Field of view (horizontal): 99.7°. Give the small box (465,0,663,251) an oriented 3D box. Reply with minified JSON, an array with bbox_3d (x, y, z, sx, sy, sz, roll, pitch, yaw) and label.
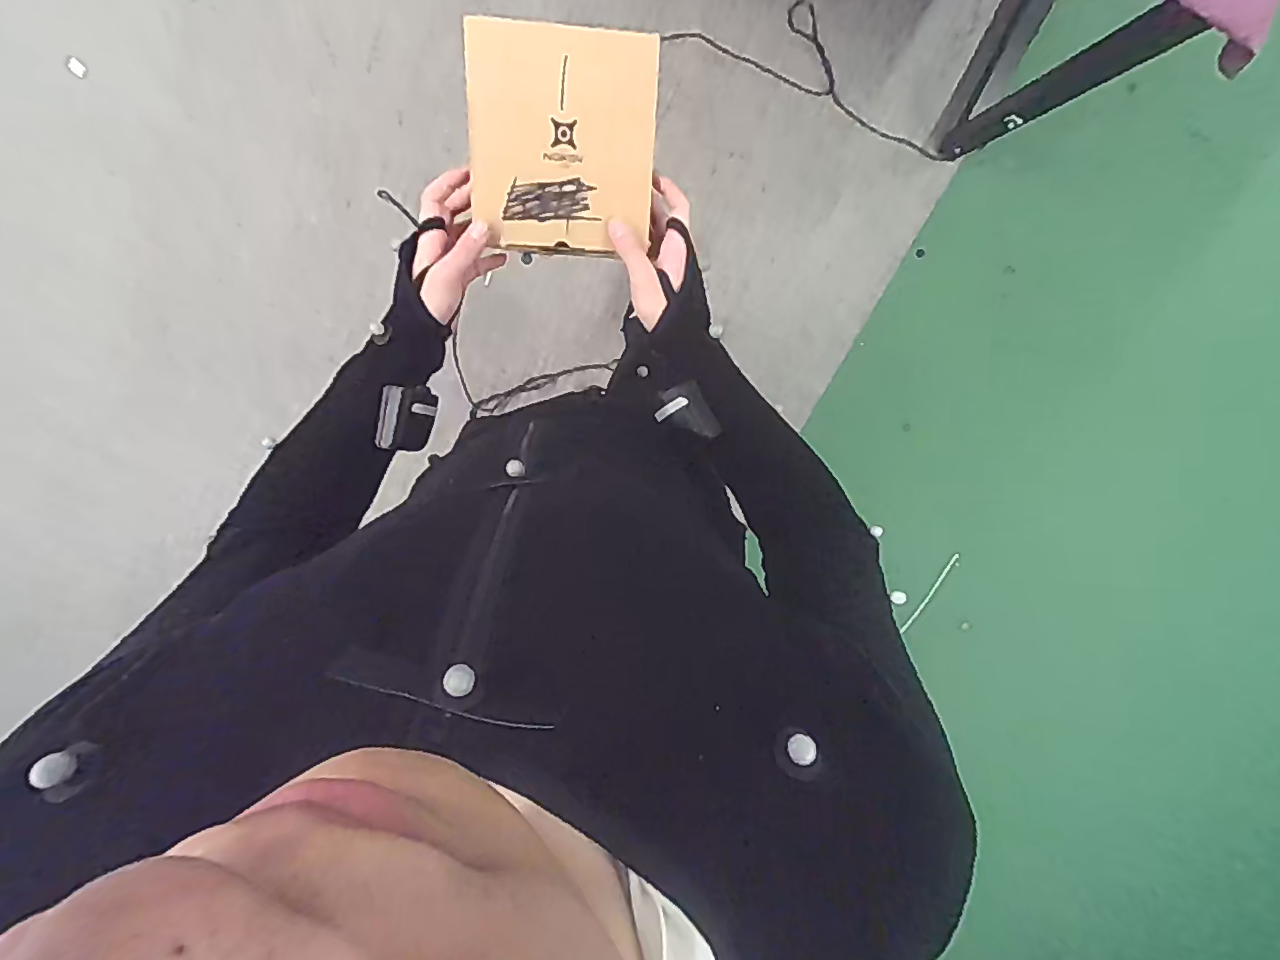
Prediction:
[{"bbox_3d":[-0.071,-0.332,0.546,0.168,0.176,0.179,2,110,-5],"label":"small box"}]
